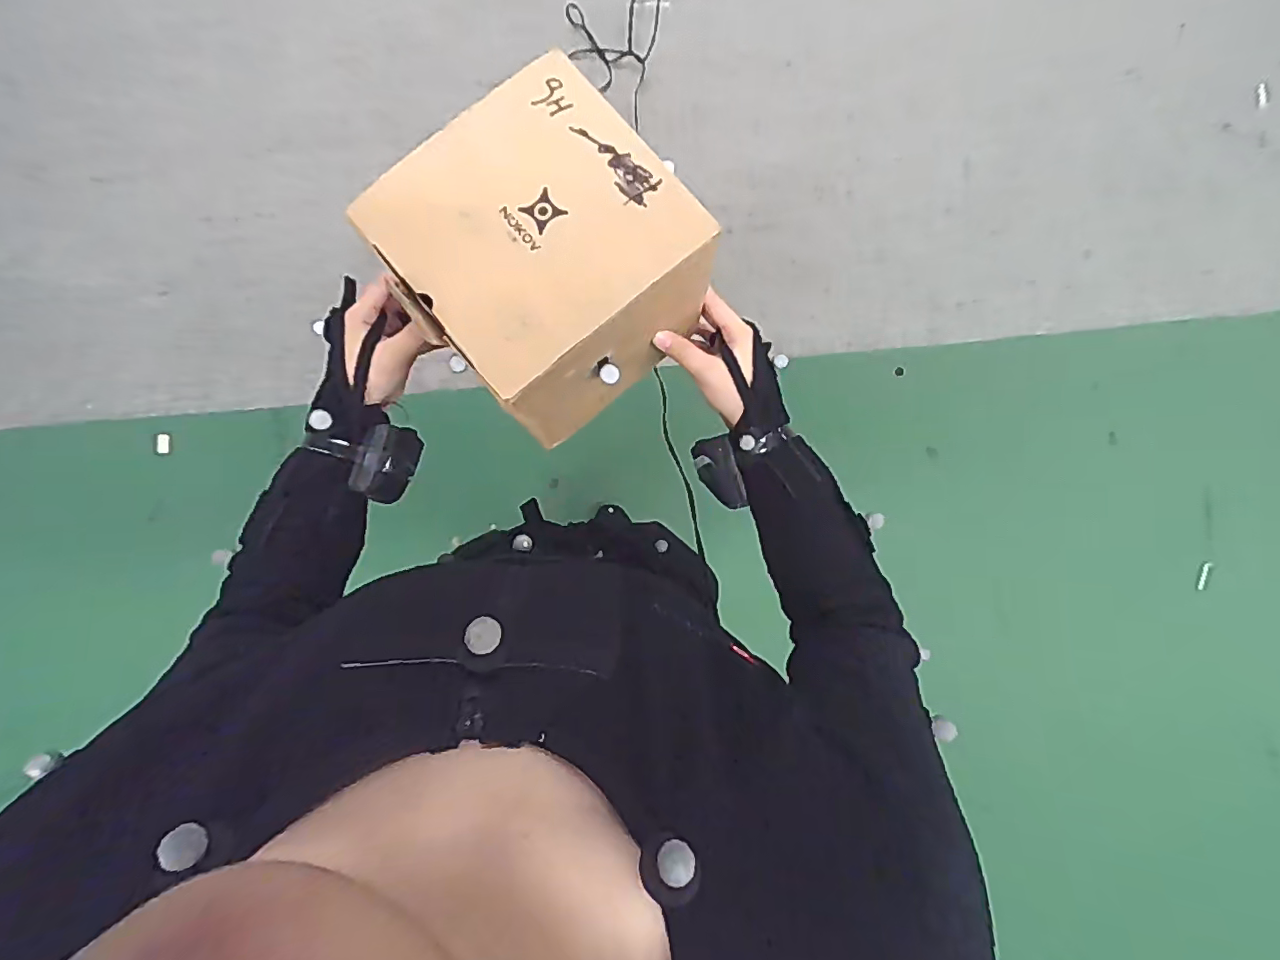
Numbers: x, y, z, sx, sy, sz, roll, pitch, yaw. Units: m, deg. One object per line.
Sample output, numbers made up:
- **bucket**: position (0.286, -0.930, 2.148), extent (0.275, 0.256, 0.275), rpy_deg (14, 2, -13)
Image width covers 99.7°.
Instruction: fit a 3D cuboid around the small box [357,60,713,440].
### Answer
- **small box**: position (-0.065, -0.152, 0.422), extent (0.179, 0.176, 0.168), rpy_deg (-40, 85, -3)
